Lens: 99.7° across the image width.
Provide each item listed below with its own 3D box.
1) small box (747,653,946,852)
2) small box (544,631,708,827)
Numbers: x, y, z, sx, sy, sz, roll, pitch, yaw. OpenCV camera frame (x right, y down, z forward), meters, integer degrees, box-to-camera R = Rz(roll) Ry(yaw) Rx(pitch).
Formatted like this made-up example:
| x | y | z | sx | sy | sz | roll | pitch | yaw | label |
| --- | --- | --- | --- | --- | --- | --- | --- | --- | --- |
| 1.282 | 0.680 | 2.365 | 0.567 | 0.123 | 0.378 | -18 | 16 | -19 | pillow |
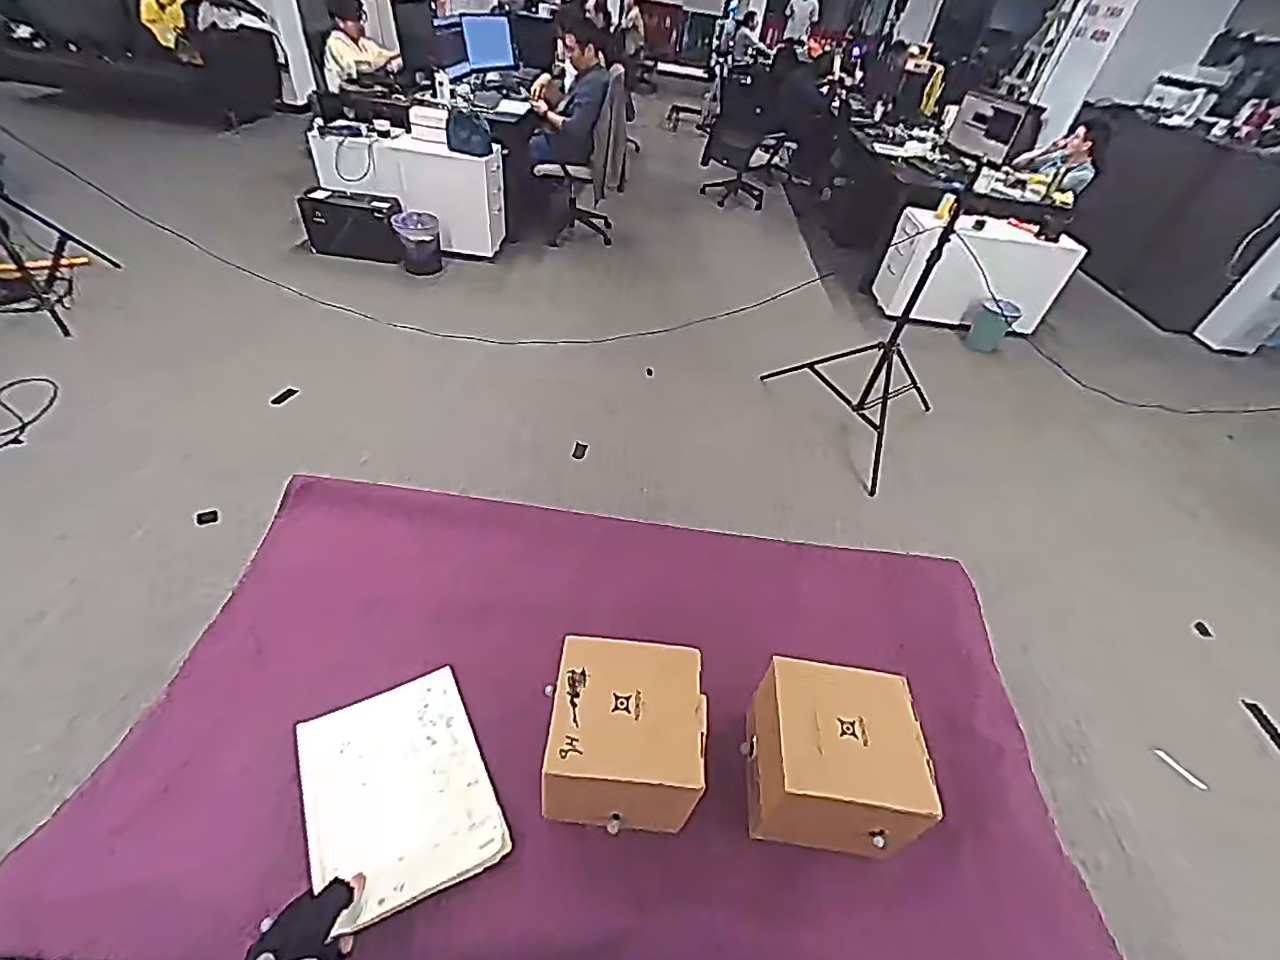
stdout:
| x | y | z | sx | sy | sz | roll | pitch | yaw | label |
| --- | --- | --- | --- | --- | --- | --- | --- | --- | --- |
| 0.244 | 0.349 | 0.688 | 0.179 | 0.176 | 0.168 | 8 | 41 | 1 | small box |
| -0.020 | 0.315 | 0.679 | 0.179 | 0.176 | 0.168 | 7 | 42 | -2 | small box |
